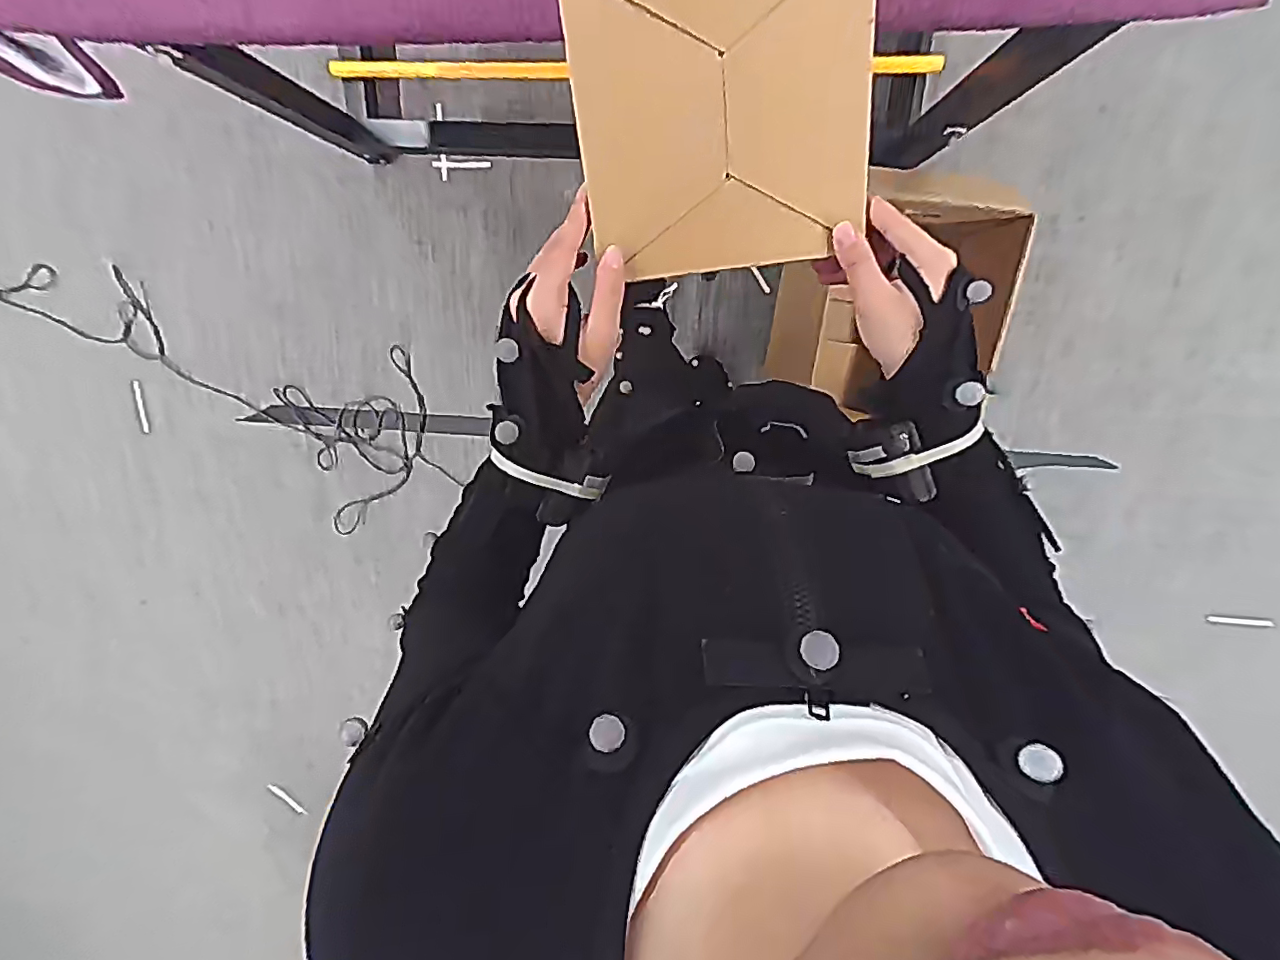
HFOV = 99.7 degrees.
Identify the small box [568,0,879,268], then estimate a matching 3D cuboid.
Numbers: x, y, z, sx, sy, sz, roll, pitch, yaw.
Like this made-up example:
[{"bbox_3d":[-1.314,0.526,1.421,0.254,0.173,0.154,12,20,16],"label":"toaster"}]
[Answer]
[{"bbox_3d":[0.048,-0.250,0.390,0.179,0.176,0.168,-8,114,0],"label":"small box"}]
